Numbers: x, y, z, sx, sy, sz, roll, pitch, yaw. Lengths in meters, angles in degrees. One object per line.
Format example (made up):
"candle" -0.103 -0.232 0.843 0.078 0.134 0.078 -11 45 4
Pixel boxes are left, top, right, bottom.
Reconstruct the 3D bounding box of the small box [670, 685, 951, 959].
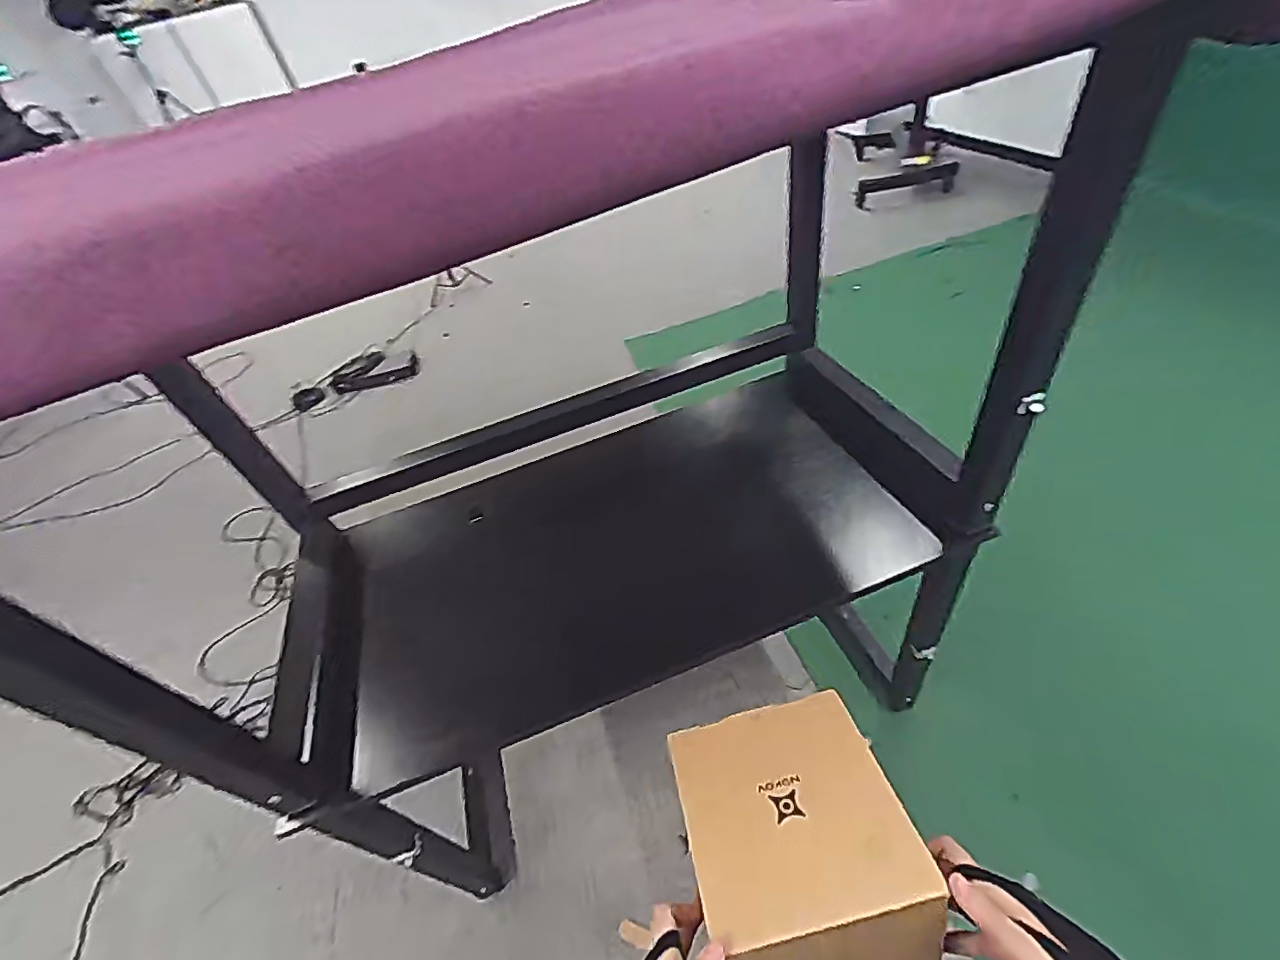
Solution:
"small box" 0.133 0.316 0.460 0.168 0.176 0.179 -14 26 -1
